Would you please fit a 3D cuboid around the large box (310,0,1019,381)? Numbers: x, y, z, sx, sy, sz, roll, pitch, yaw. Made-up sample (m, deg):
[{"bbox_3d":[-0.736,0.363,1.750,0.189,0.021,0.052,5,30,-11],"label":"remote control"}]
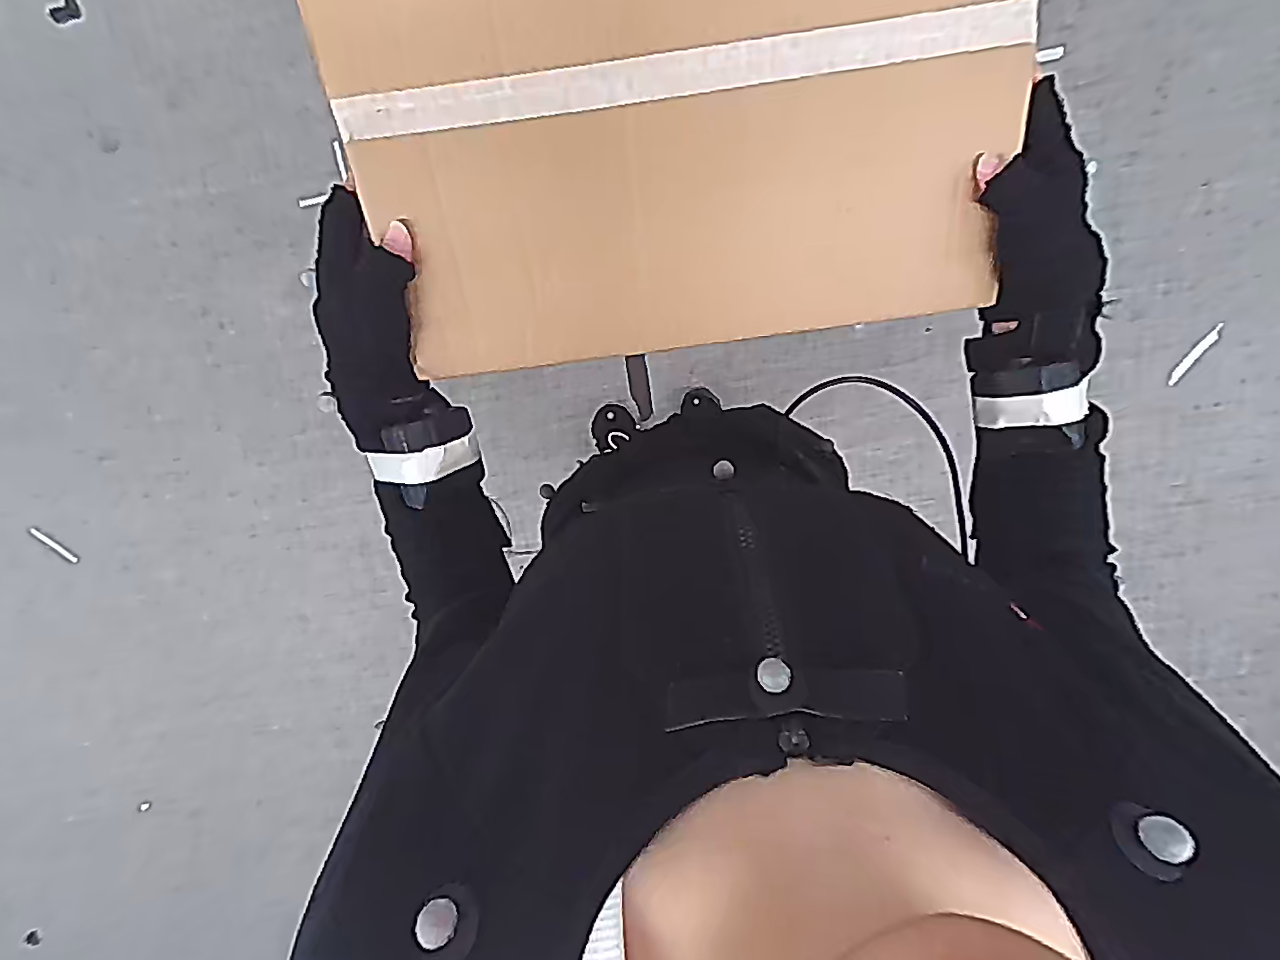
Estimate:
[{"bbox_3d":[0.017,-0.299,0.454,0.408,0.320,0.320,-7,115,1],"label":"large box"}]
